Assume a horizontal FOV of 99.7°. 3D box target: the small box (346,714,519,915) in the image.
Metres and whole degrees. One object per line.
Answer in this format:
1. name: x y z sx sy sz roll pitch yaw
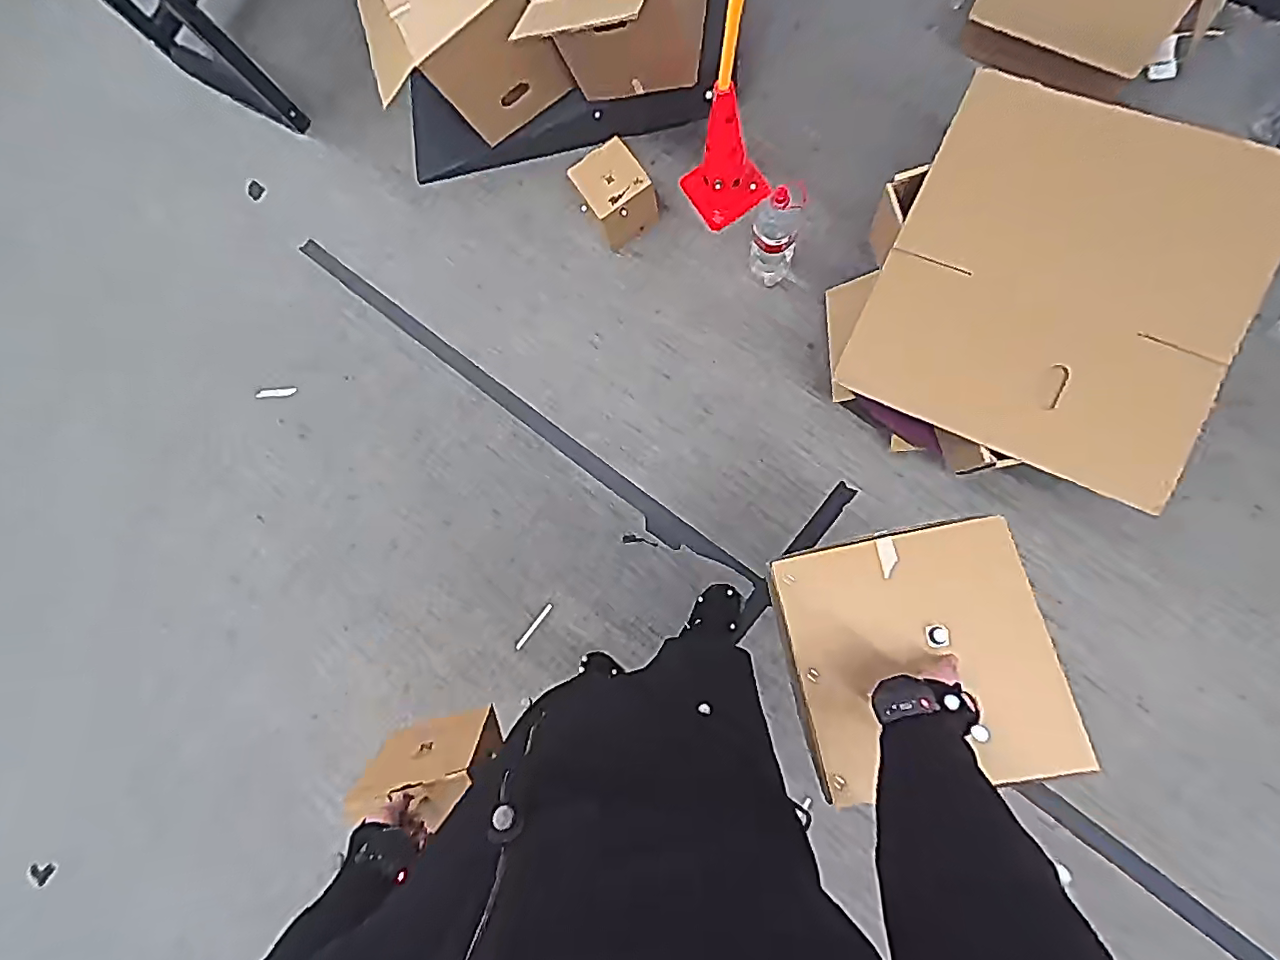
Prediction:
1. small box: -0.284 0.479 0.783 0.168 0.179 0.176 -15 94 -3
